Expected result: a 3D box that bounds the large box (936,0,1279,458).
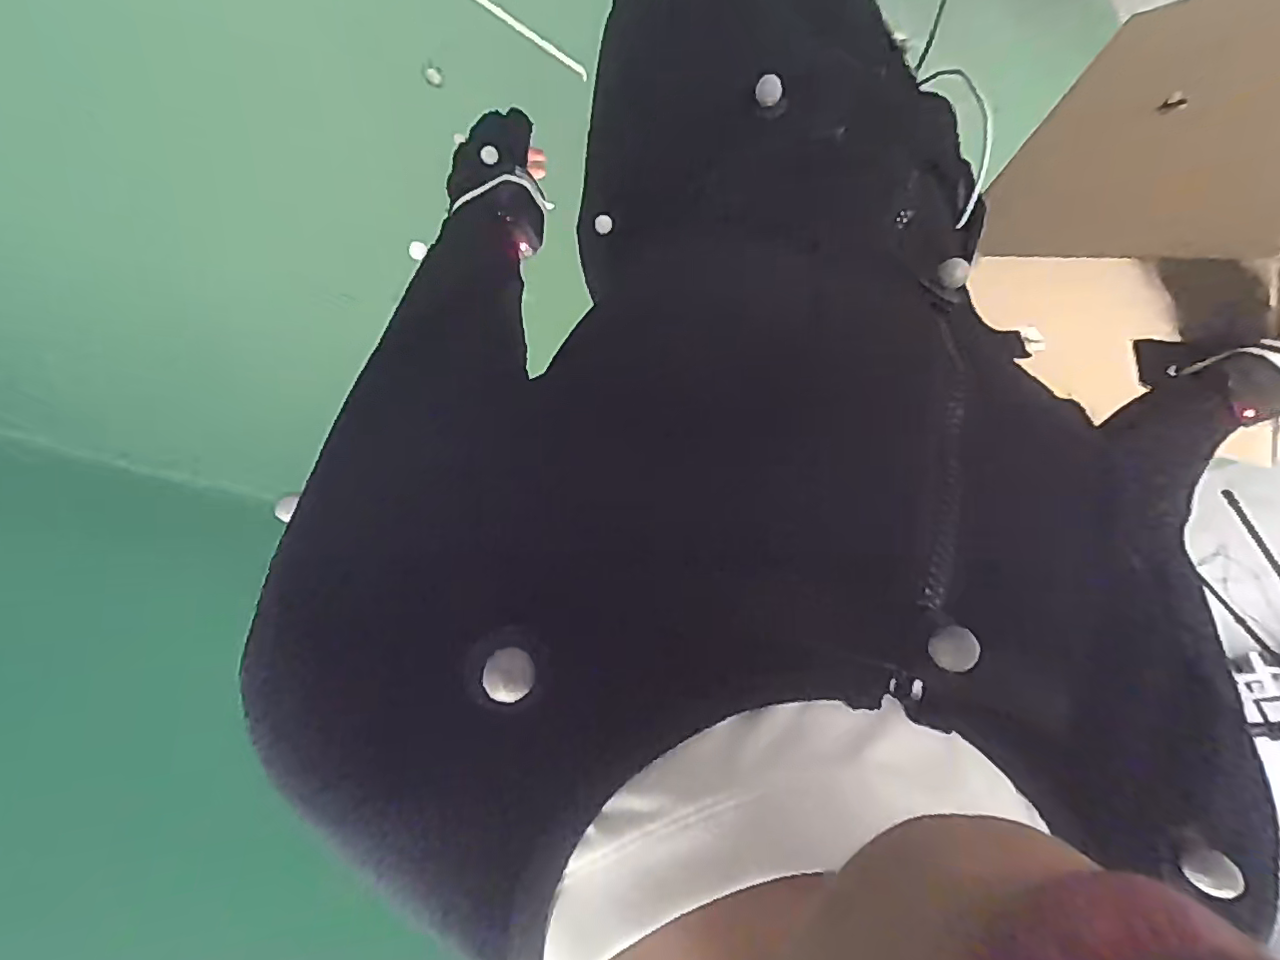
[{"bbox_3d":[0.652,-0.304,0.645,0.320,0.320,0.408,40,89,-34],"label":"large box"}]
